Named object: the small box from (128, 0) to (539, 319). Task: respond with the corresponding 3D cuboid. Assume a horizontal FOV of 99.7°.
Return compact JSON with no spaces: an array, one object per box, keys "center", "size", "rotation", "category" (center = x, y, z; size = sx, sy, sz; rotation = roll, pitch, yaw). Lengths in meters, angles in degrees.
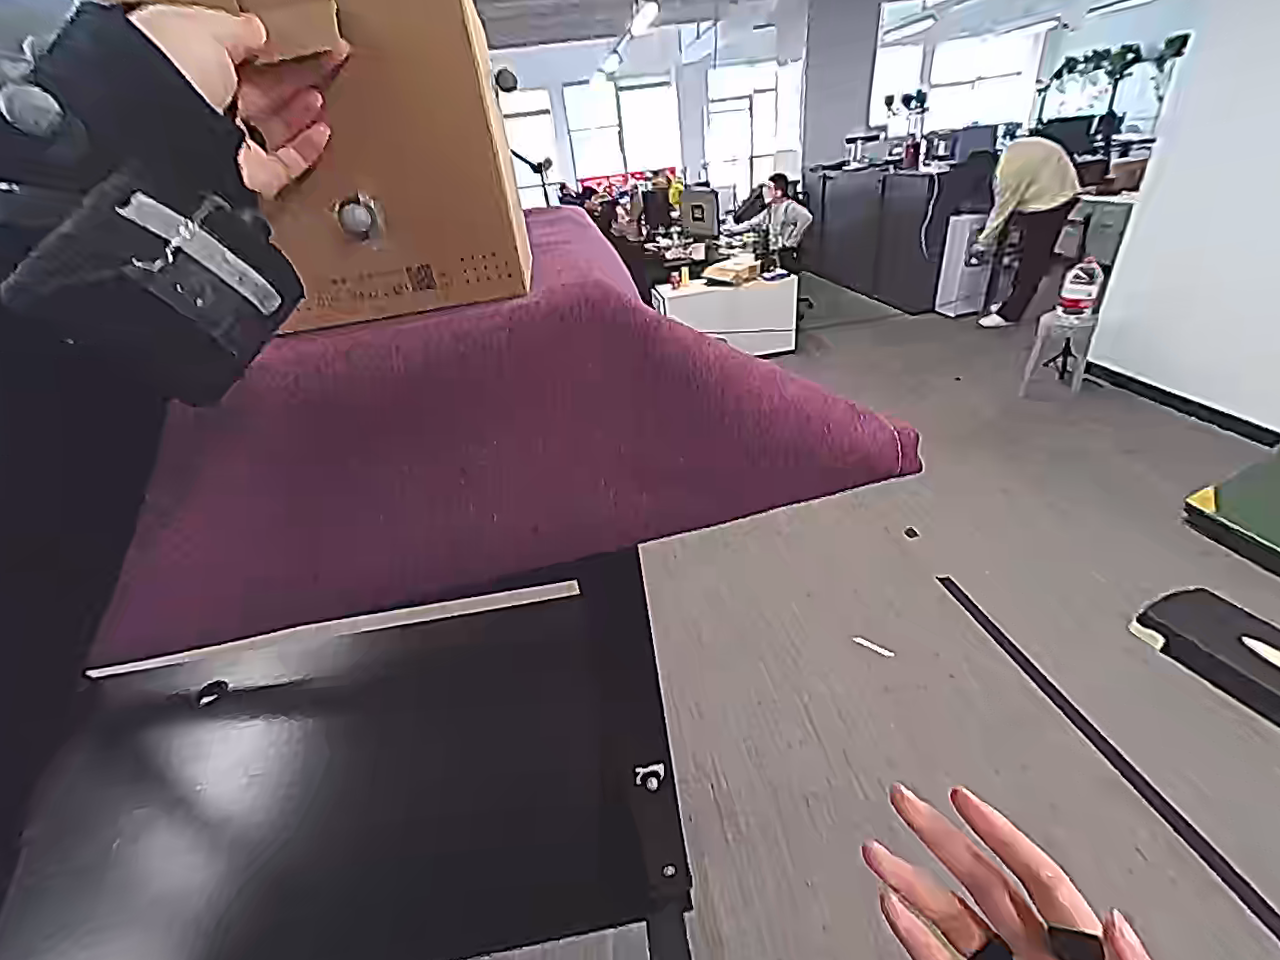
[{"center":[-0.167,-0.215,0.363],"size":[0.168,0.176,0.179],"rotation":[-11,30,-5],"category":"small box"}]
